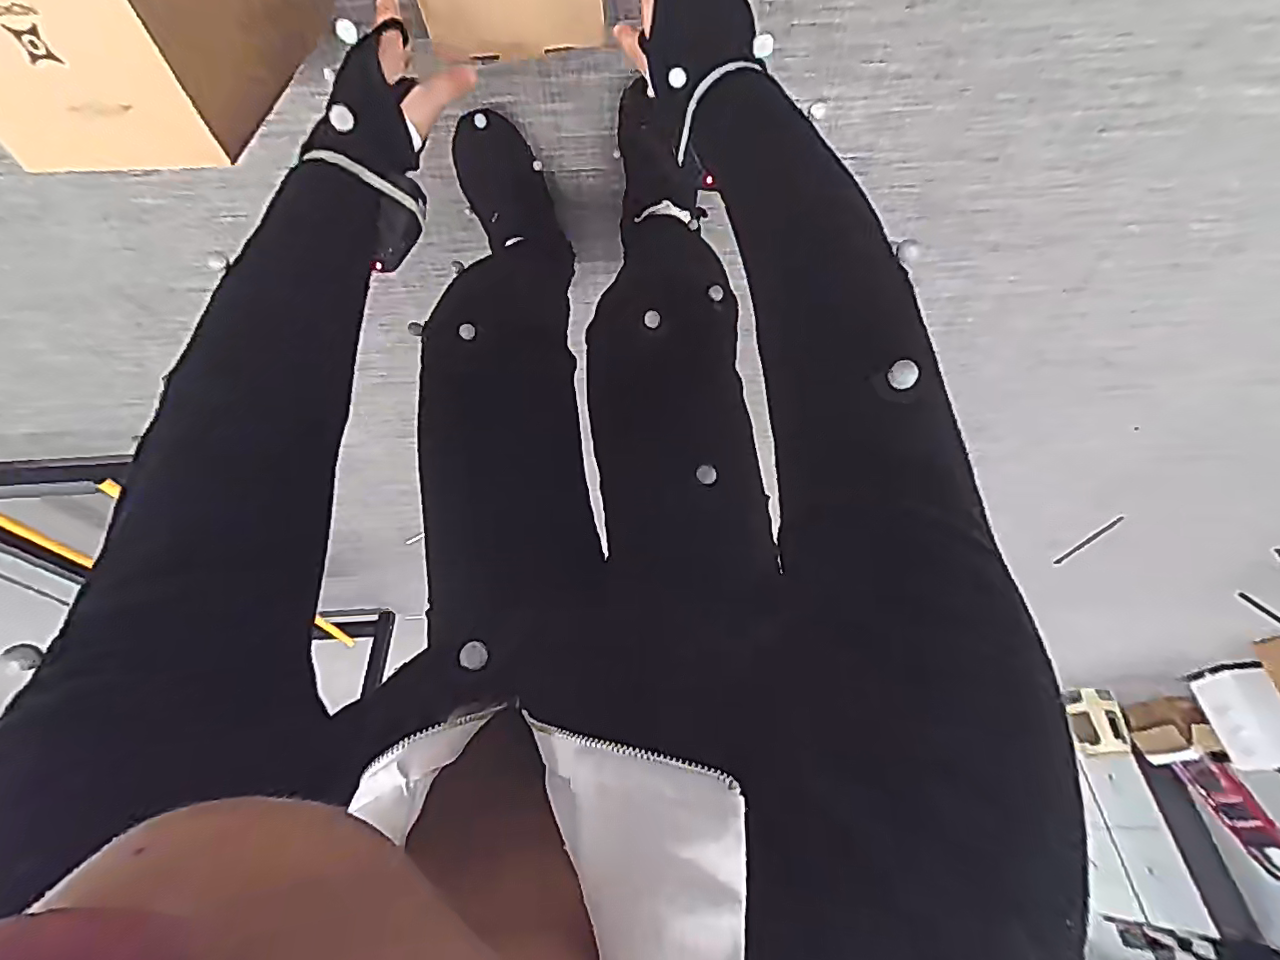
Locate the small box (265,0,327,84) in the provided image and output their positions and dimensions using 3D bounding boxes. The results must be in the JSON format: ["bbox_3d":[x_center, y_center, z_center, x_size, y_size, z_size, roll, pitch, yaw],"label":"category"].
[{"bbox_3d":[-0.423,-0.499,0.505,0.179,0.176,0.168,-2,147,-2],"label":"small box"}]

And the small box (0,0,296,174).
[{"bbox_3d":[-0.407,-0.366,0.412,0.168,0.176,0.179,-2,148,0],"label":"small box"}]

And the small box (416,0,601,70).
[{"bbox_3d":[-0.125,-0.522,0.500,0.168,0.176,0.179,-4,148,2],"label":"small box"}]
